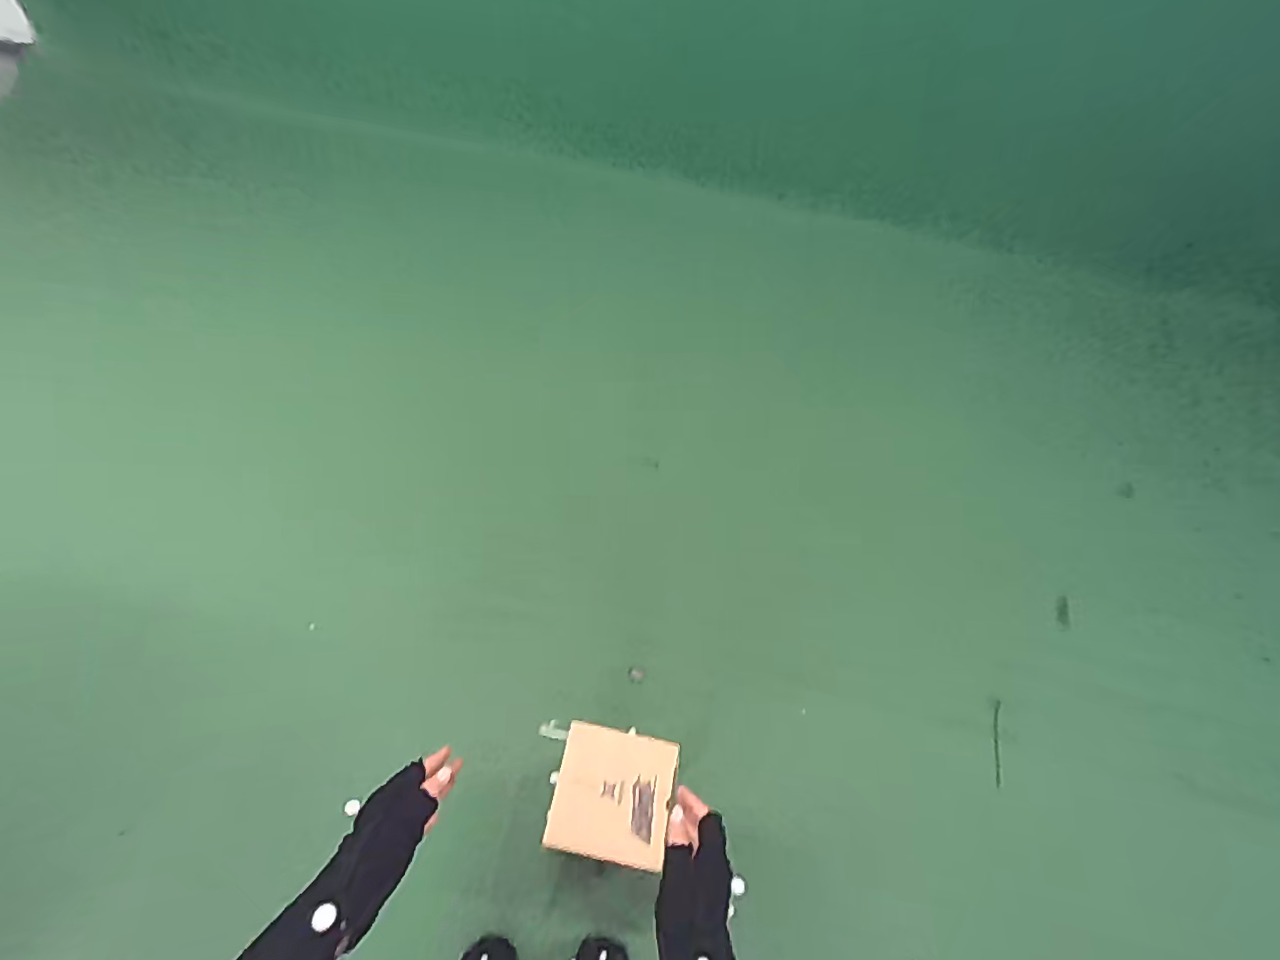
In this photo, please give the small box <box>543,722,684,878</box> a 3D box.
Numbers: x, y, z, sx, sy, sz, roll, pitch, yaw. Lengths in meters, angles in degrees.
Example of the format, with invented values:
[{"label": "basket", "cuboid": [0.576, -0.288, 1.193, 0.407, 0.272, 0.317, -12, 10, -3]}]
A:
[{"label": "small box", "cuboid": [-0.043, 0.509, 0.864, 0.179, 0.176, 0.168, 15, 55, 3]}]
